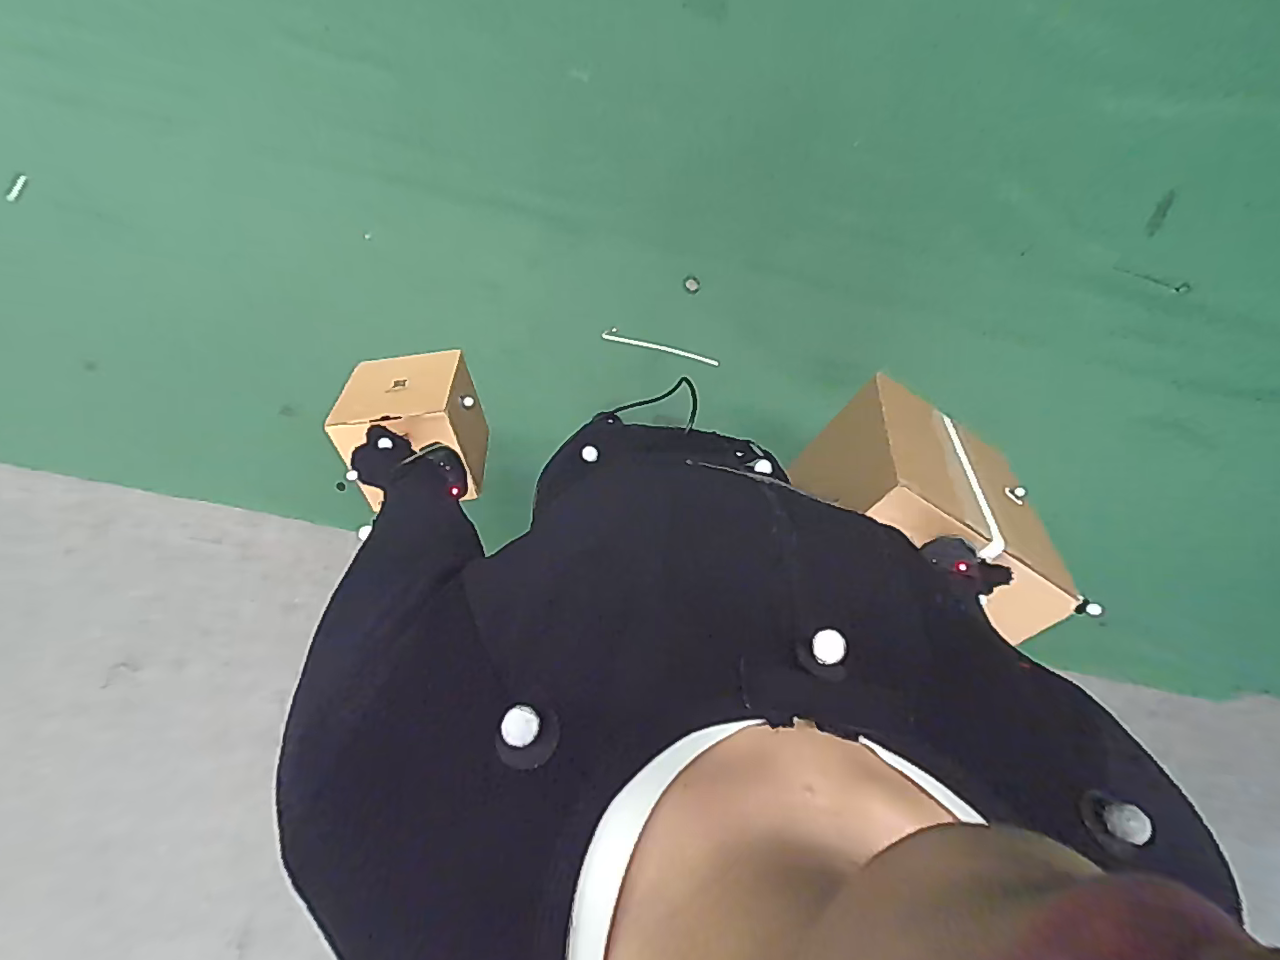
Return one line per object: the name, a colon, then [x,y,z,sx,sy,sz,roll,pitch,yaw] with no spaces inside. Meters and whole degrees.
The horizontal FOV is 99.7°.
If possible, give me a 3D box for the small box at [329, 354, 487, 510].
small box: [-0.348,-0.077,0.856,0.168,0.179,0.176,-8,132,-1]
